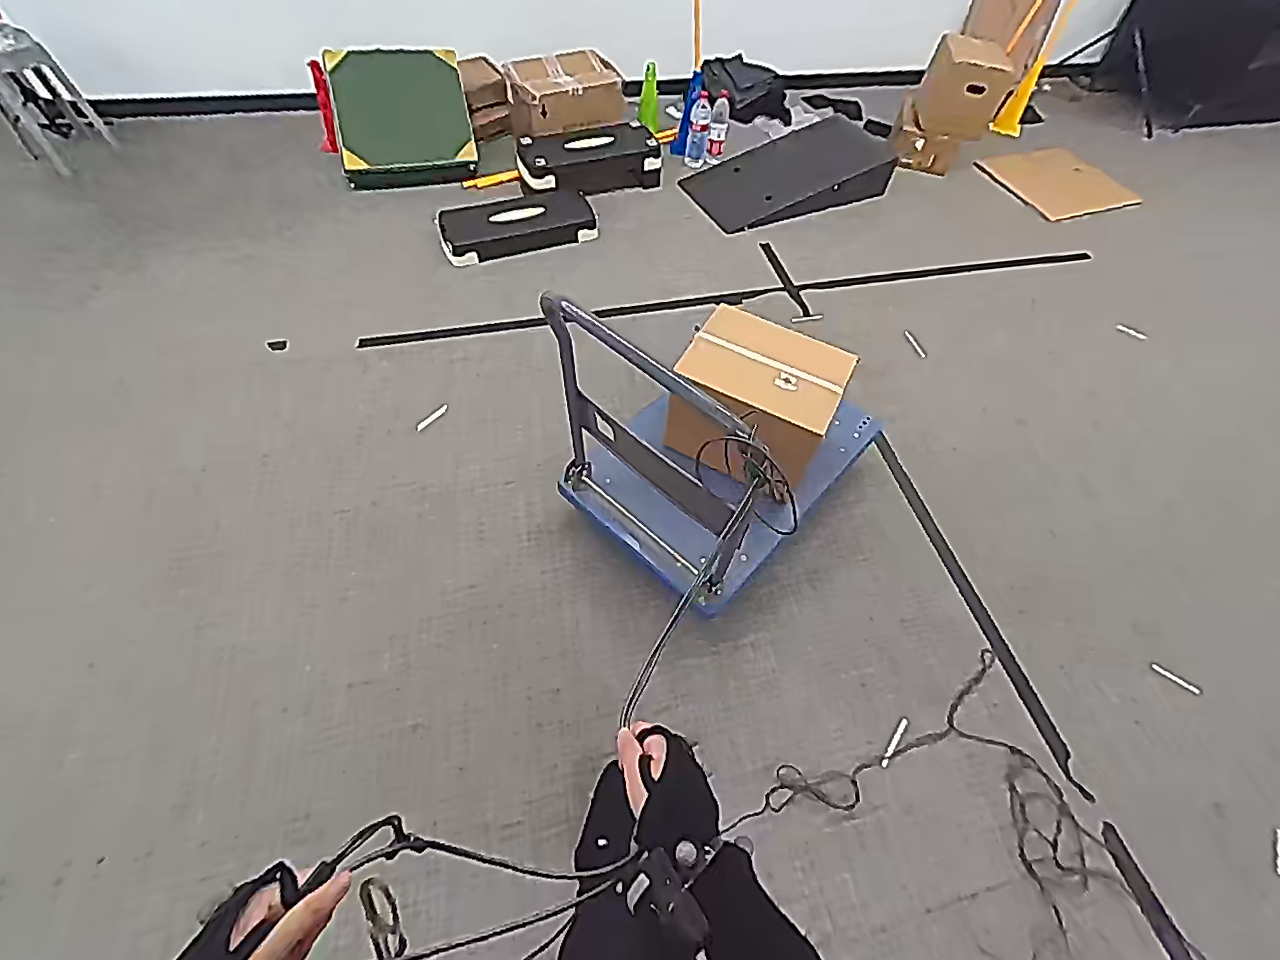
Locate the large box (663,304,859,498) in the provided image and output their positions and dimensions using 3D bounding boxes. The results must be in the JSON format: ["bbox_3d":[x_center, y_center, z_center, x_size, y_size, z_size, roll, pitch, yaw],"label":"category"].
[{"bbox_3d":[0.319,-0.216,1.500,0.408,0.320,0.320,27,60,12],"label":"large box"}]
